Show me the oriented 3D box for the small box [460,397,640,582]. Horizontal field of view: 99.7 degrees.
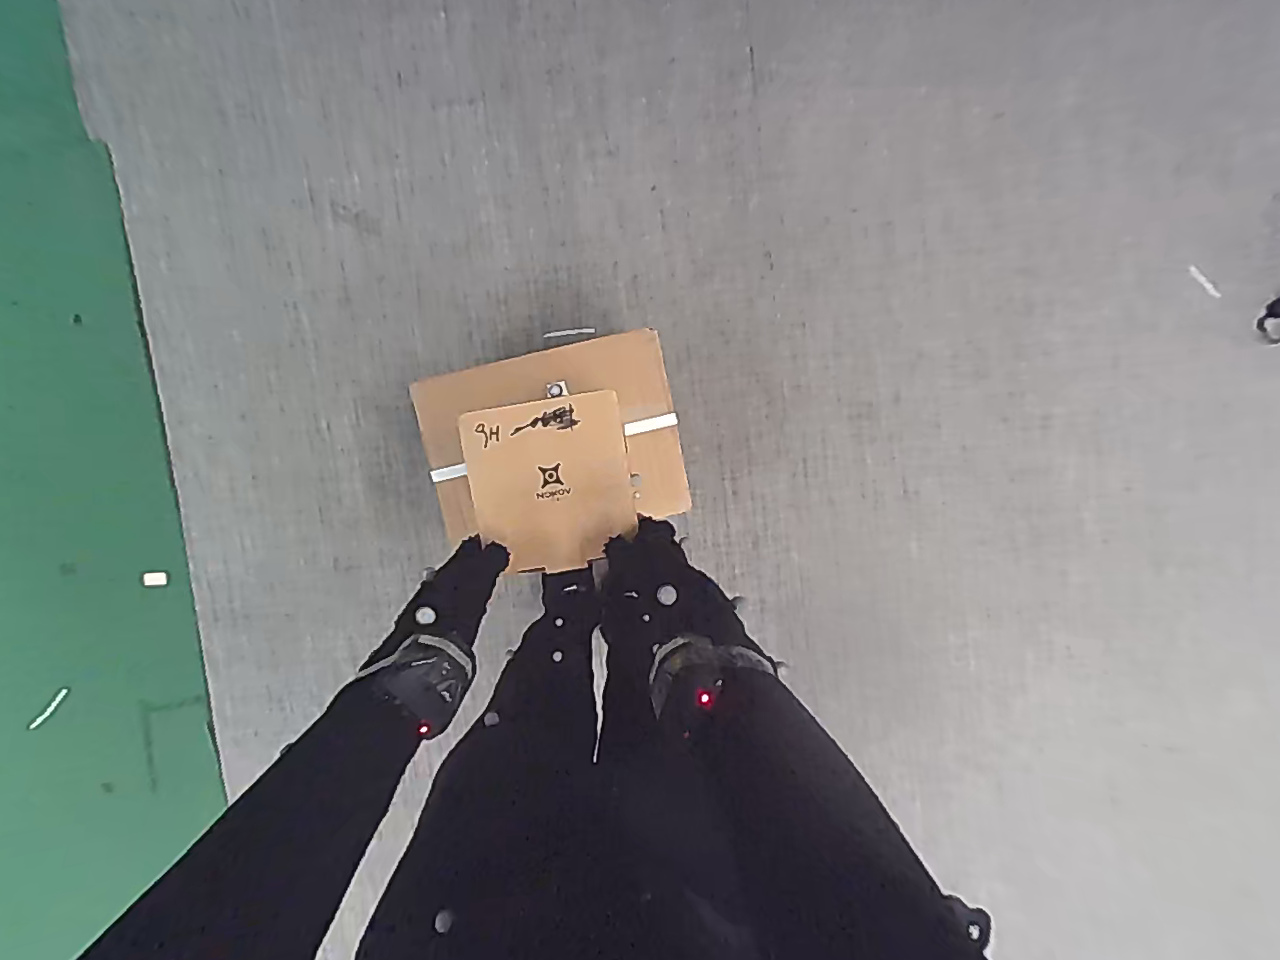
[{"bbox_3d":[-0.092,0.003,0.637,0.168,0.176,0.179,-9,95,-2],"label":"small box"}]
